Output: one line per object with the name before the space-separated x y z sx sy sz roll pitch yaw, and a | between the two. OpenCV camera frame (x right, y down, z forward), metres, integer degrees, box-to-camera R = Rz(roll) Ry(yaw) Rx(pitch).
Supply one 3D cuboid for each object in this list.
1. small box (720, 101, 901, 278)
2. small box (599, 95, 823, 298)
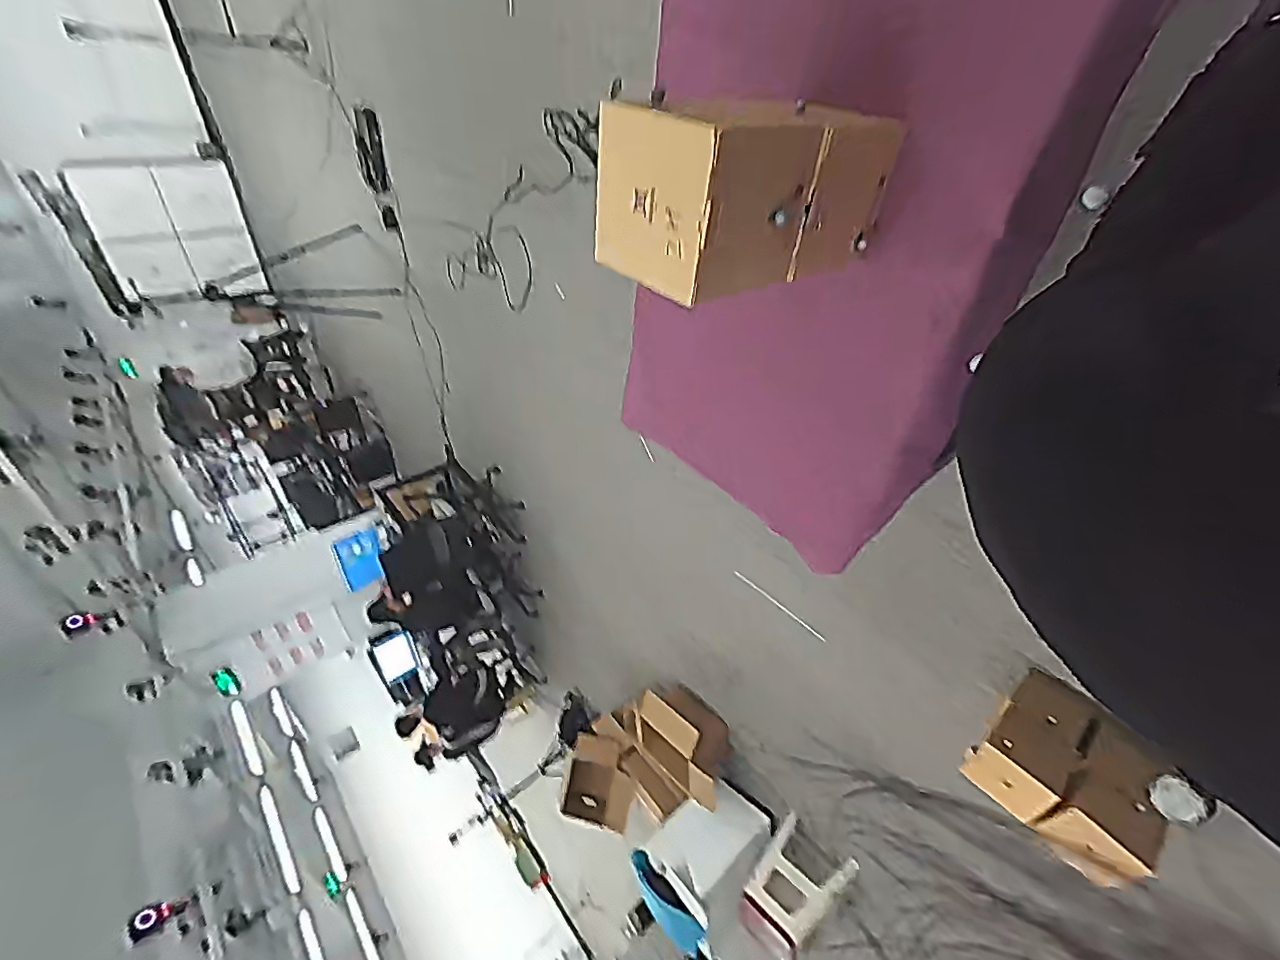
small box | 0.203 -0.388 0.710 0.179 0.176 0.168 40 140 33
small box | 0.074 -0.331 0.625 0.179 0.176 0.168 39 139 33
